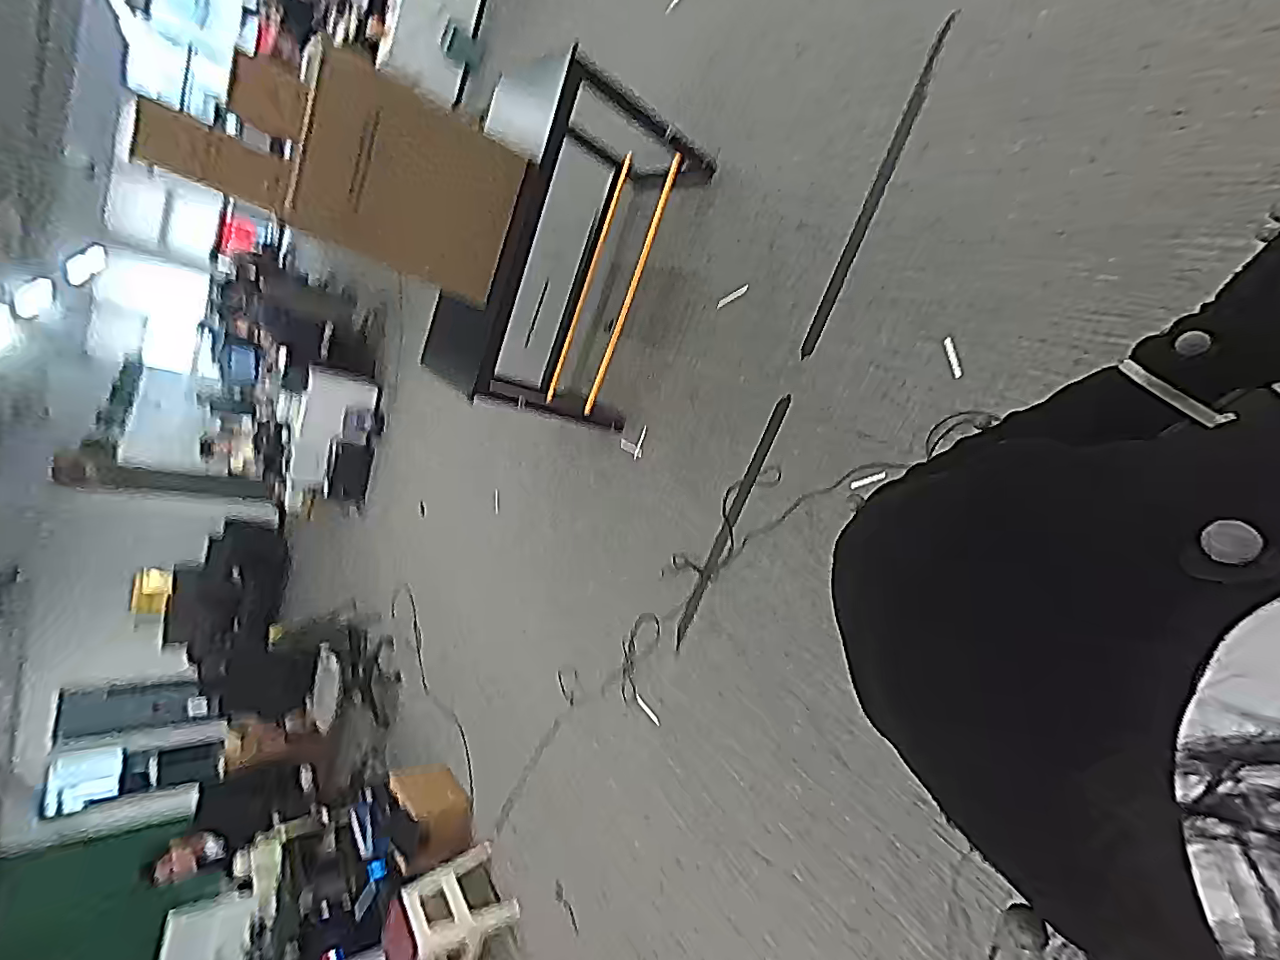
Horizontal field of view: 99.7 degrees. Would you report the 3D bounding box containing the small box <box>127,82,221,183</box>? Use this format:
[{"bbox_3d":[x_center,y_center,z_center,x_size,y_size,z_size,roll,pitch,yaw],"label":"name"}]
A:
[{"bbox_3d":[-1.254,-0.927,1.462,0.179,0.176,0.168,29,104,46],"label":"small box"}]

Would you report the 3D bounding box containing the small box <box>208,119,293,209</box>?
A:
[{"bbox_3d":[-1.134,-0.909,1.575,0.179,0.176,0.168,26,102,45],"label":"small box"}]

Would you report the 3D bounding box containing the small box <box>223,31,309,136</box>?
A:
[{"bbox_3d":[-1.043,-1.095,1.509,0.179,0.176,0.168,29,105,45],"label":"small box"}]
